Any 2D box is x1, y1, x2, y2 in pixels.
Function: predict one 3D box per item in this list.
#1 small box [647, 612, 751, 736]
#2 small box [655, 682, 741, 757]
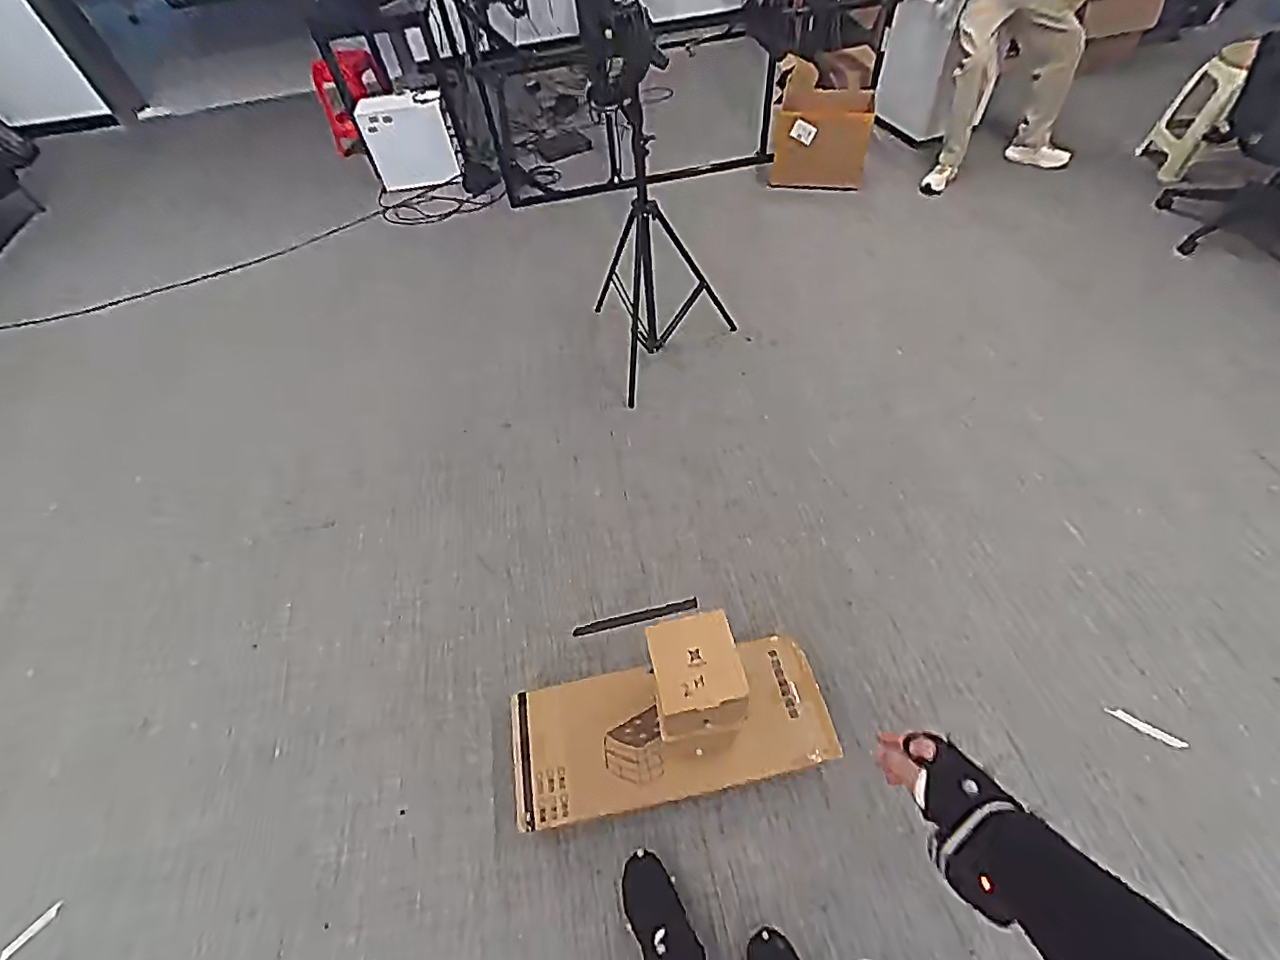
[{"bbox_3d":[0.114,0.395,1.097,0.168,0.176,0.179,-12,53,-3],"label":"small box"},{"bbox_3d":[0.124,0.506,1.221,0.168,0.176,0.179,-9,54,-1],"label":"small box"}]
